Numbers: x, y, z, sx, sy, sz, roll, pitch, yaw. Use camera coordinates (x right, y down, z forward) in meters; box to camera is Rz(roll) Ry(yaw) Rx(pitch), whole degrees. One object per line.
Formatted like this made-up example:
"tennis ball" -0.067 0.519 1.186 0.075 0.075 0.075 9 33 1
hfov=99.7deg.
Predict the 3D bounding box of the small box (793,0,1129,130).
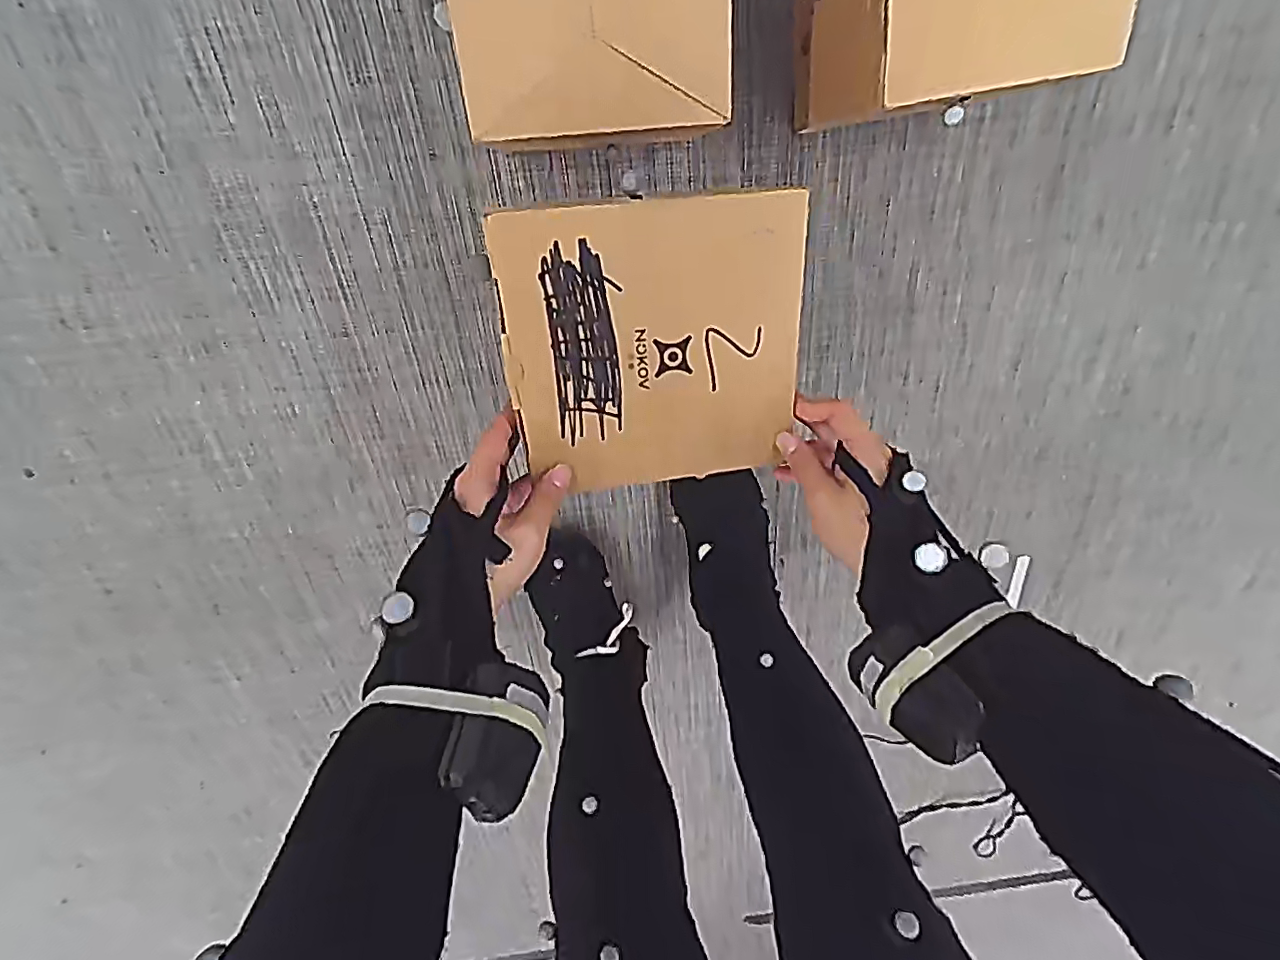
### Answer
"small box" 0.231 -0.381 0.413 0.179 0.176 0.168 -10 119 0

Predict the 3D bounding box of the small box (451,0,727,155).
"small box" -0.037 -0.343 0.397 0.179 0.176 0.168 -7 119 -4
